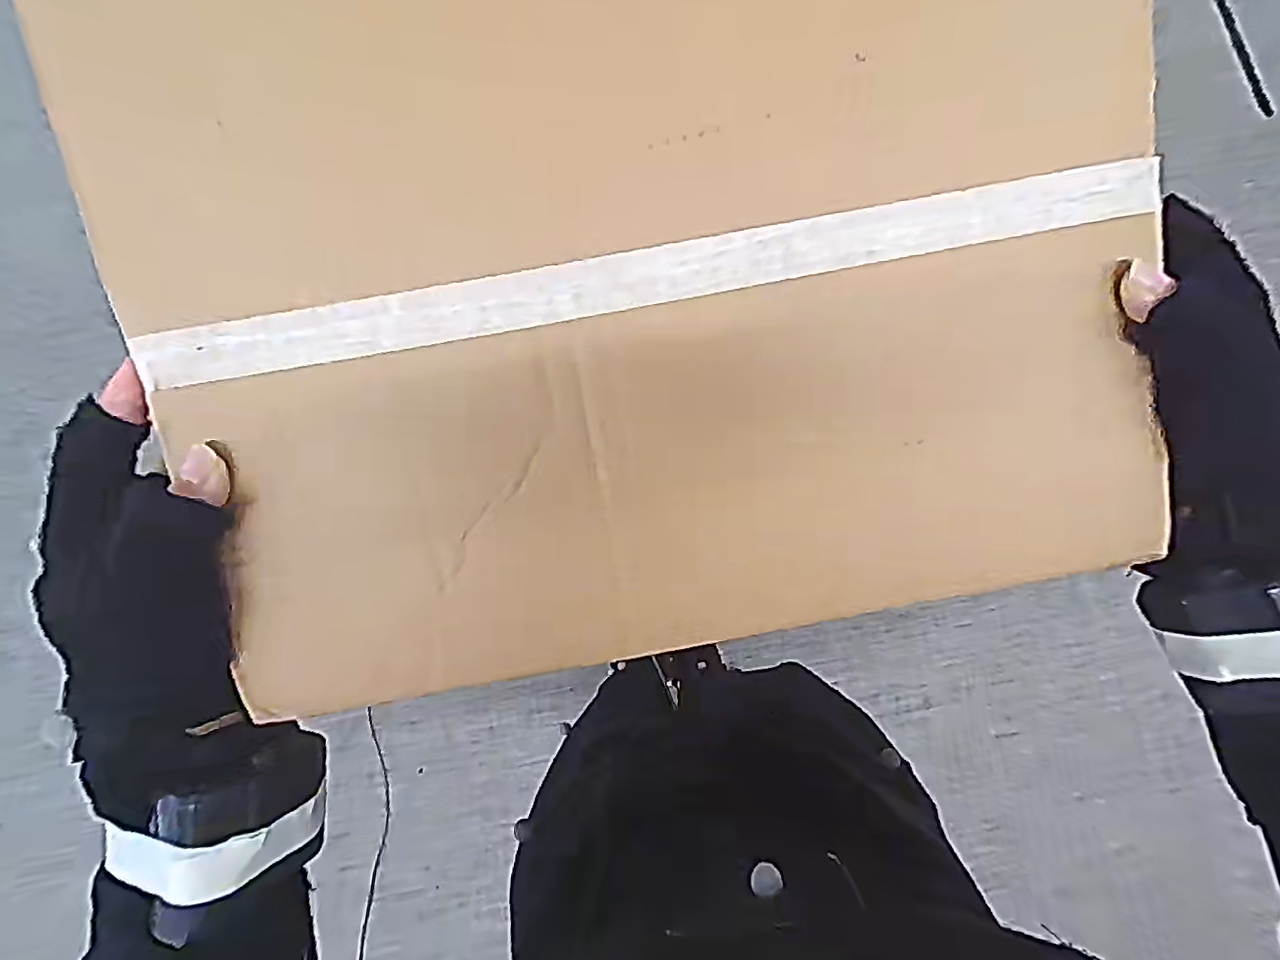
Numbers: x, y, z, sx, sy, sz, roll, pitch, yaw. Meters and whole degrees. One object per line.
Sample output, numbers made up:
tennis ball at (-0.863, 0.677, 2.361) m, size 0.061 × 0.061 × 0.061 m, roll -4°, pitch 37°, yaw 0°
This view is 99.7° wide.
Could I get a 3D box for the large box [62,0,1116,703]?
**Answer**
large box at (-0.001, -0.106, 0.373) m, size 0.408 × 0.320 × 0.320 m, roll -10°, pitch 99°, yaw -1°
